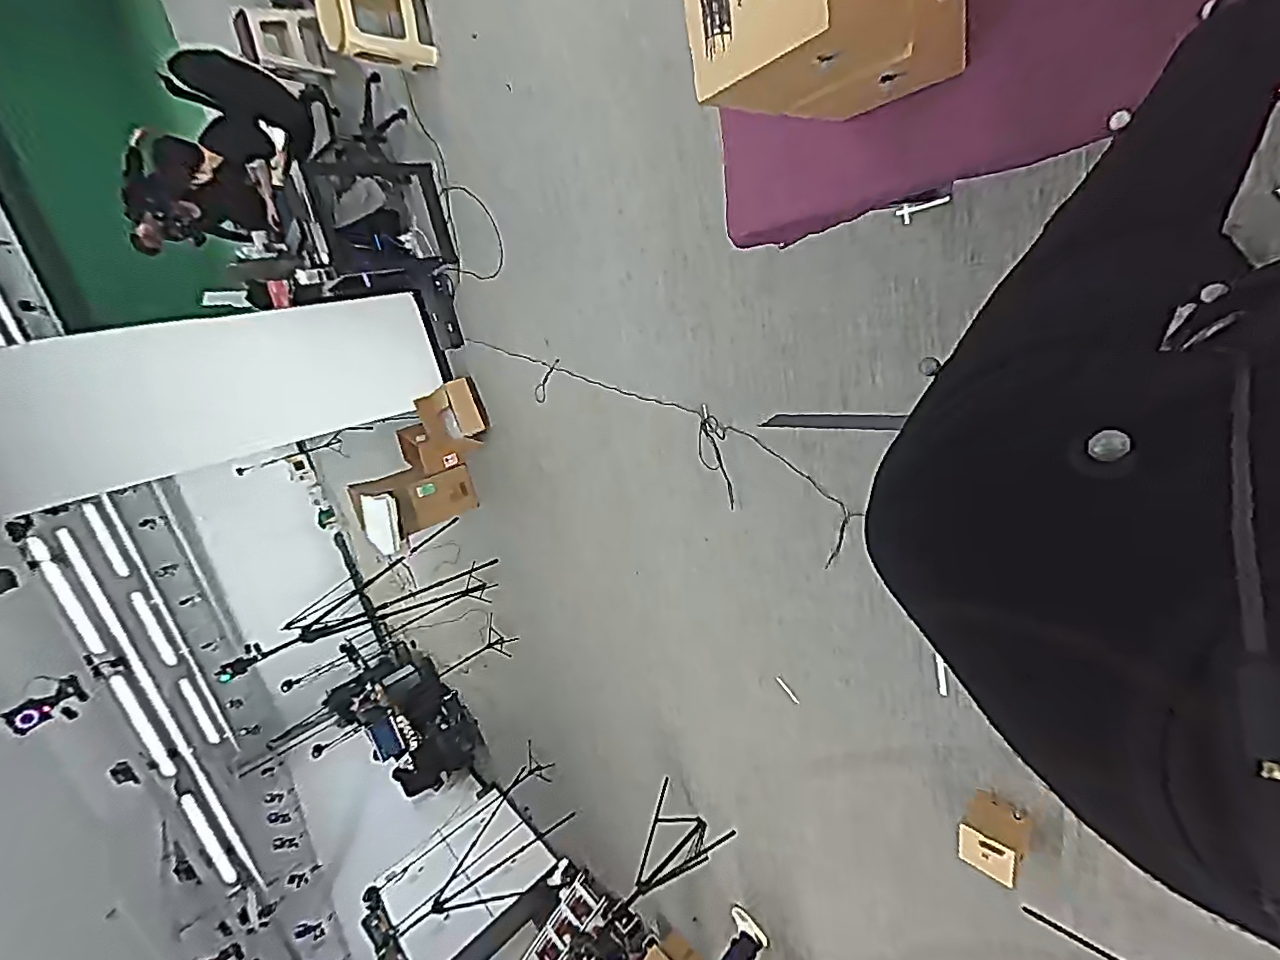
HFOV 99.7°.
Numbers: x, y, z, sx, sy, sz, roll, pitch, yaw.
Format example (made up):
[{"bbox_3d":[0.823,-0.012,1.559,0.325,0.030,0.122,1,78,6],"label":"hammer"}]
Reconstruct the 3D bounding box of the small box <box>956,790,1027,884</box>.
[{"bbox_3d":[1.218,1.226,1.872,0.168,0.176,0.179,13,121,48],"label":"small box"}]

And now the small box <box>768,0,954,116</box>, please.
[{"bbox_3d":[0.289,-0.595,0.698,0.179,0.176,0.168,11,118,48],"label":"small box"}]
